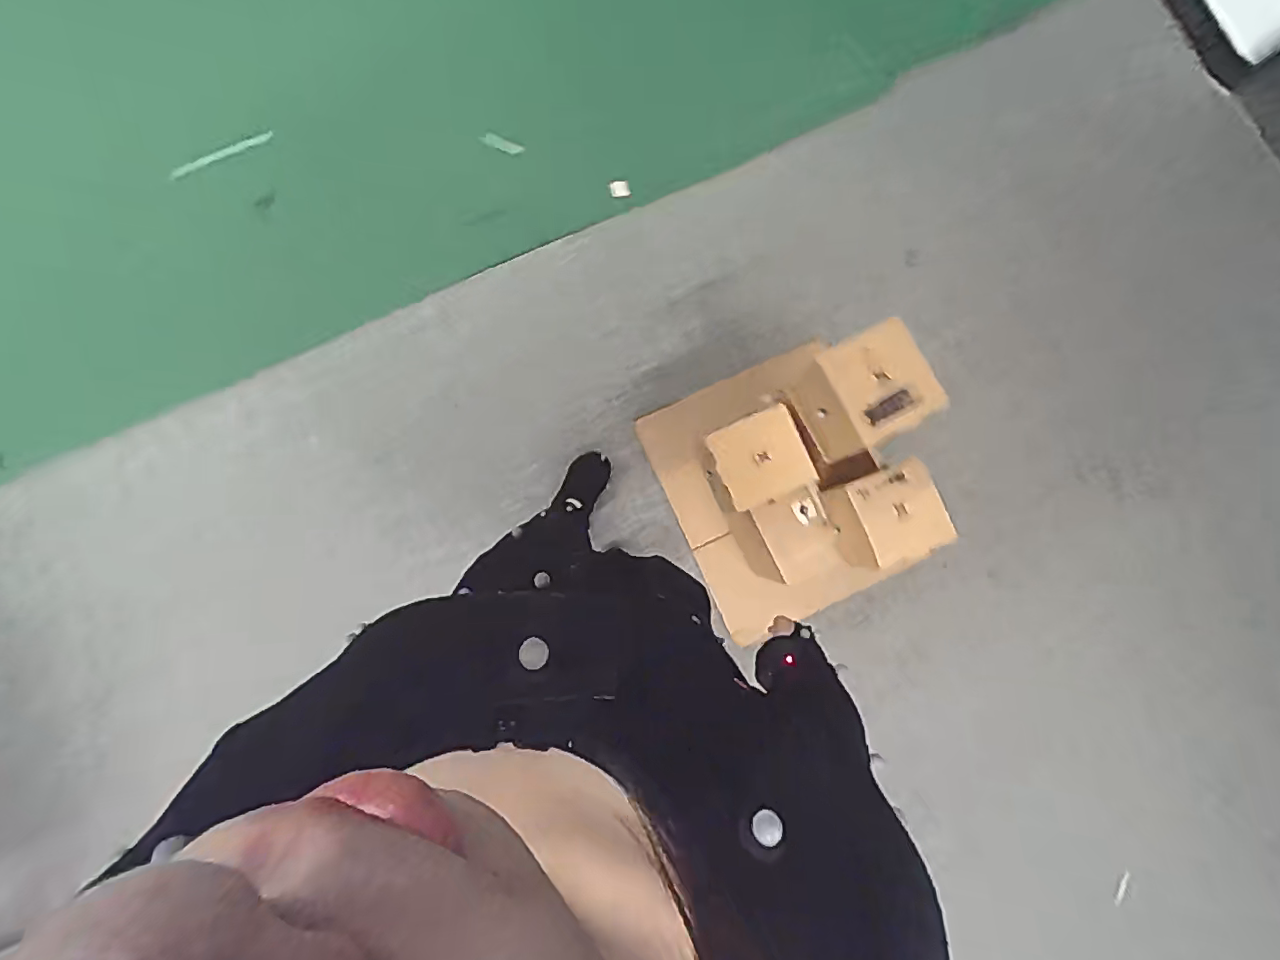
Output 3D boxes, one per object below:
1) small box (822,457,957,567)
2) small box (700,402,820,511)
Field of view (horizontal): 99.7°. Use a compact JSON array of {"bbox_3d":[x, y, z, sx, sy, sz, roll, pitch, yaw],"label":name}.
[{"bbox_3d":[0.506,0.069,1.121,0.168,0.176,0.179,-20,84,-2],"label":"small box"},{"bbox_3d":[0.240,-0.044,1.127,0.179,0.176,0.168,-23,86,-2],"label":"small box"}]
